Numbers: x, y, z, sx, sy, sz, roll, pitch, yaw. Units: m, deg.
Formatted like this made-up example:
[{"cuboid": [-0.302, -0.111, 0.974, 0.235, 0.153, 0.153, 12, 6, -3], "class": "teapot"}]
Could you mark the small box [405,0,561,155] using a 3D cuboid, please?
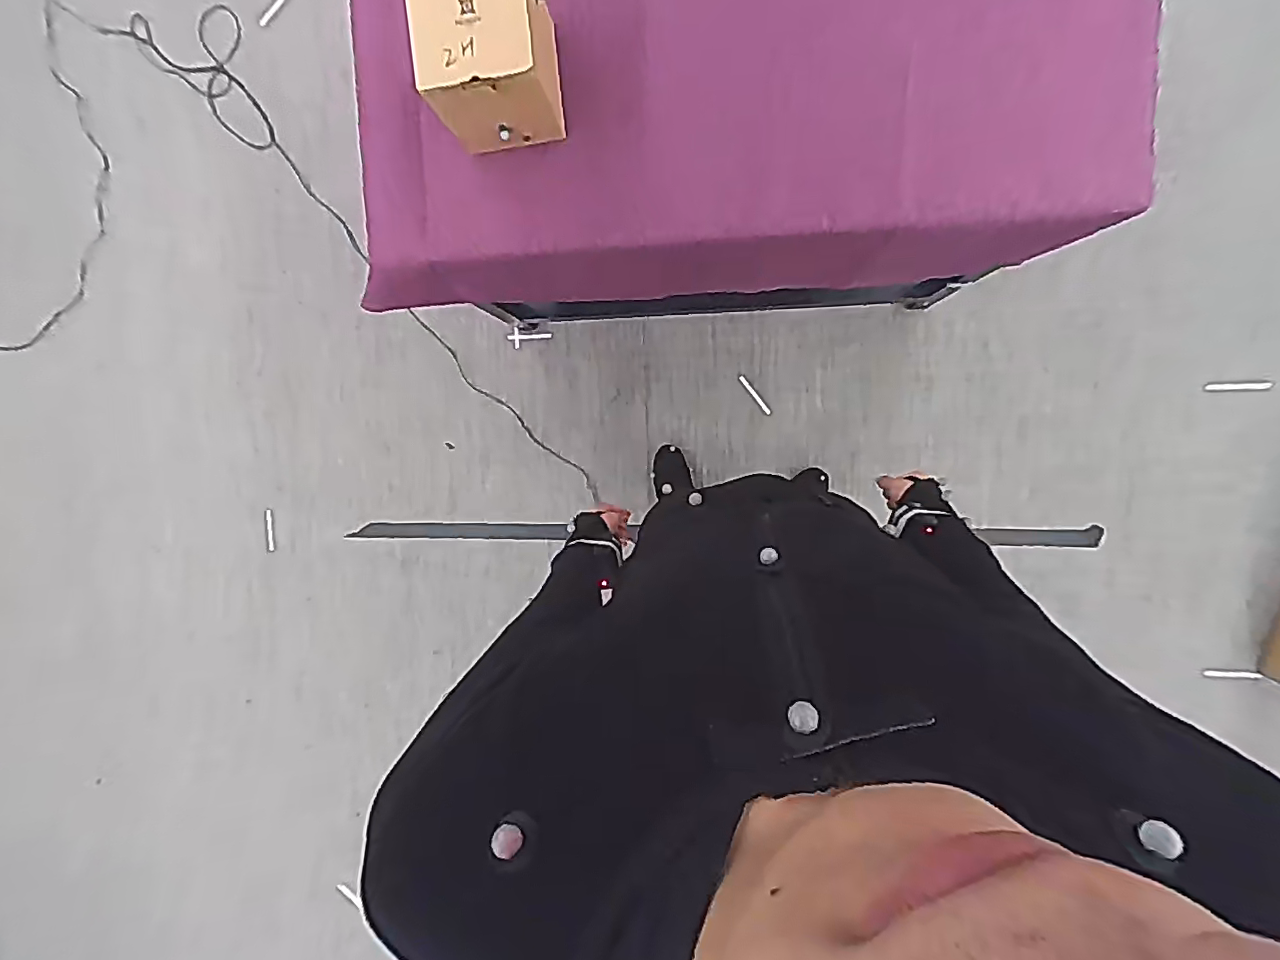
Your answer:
[{"cuboid": [-0.221, -0.618, 0.793, 0.168, 0.176, 0.179, -5, 95, 7], "class": "small box"}]
